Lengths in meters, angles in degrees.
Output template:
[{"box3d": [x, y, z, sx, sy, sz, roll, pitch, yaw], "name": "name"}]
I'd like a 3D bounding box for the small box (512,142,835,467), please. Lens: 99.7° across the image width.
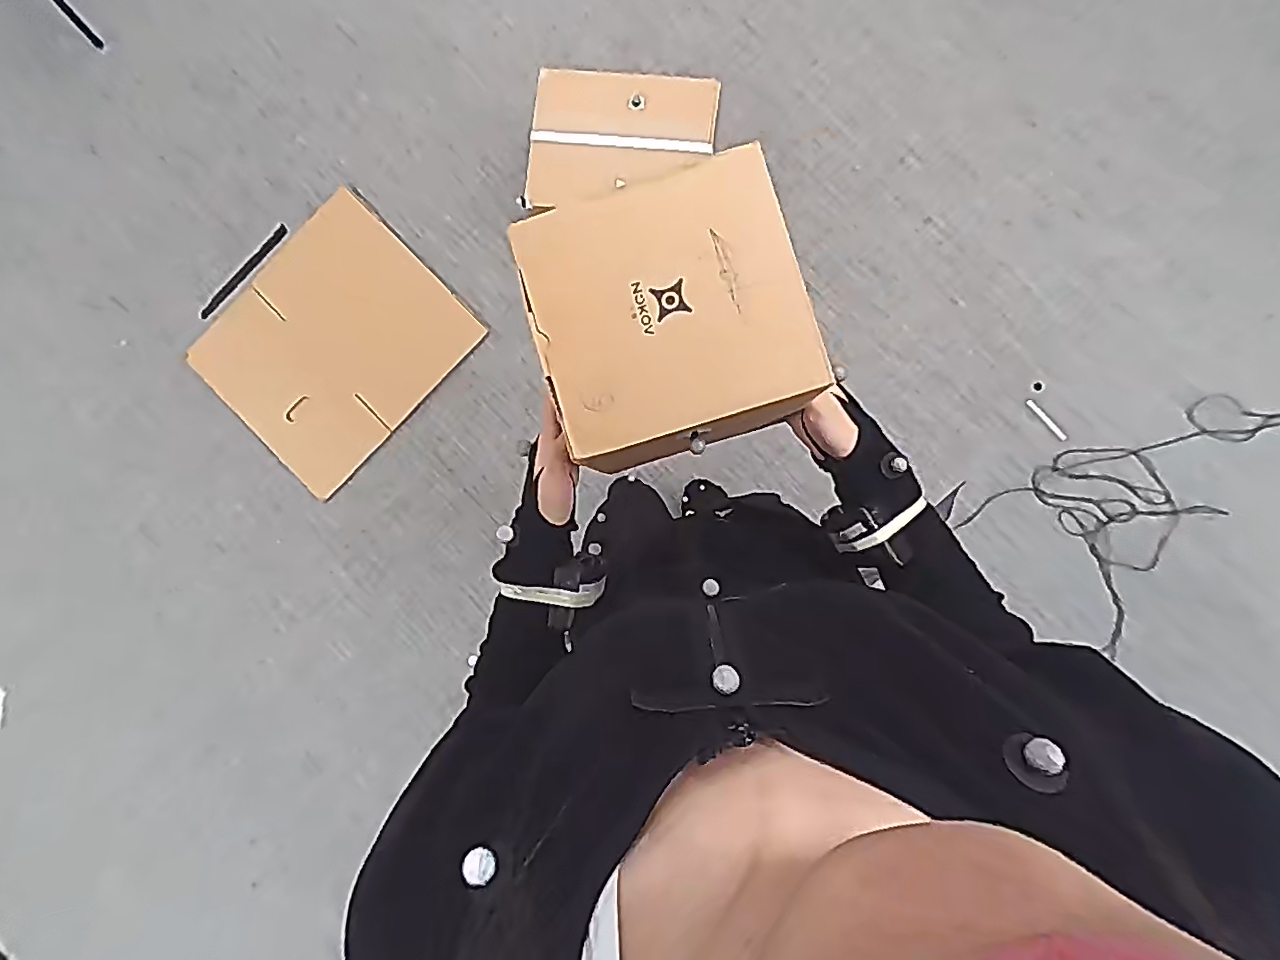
[{"box3d": [0.025, -0.112, 0.426, 0.179, 0.176, 0.168, -17, 87, 3], "name": "small box"}]
